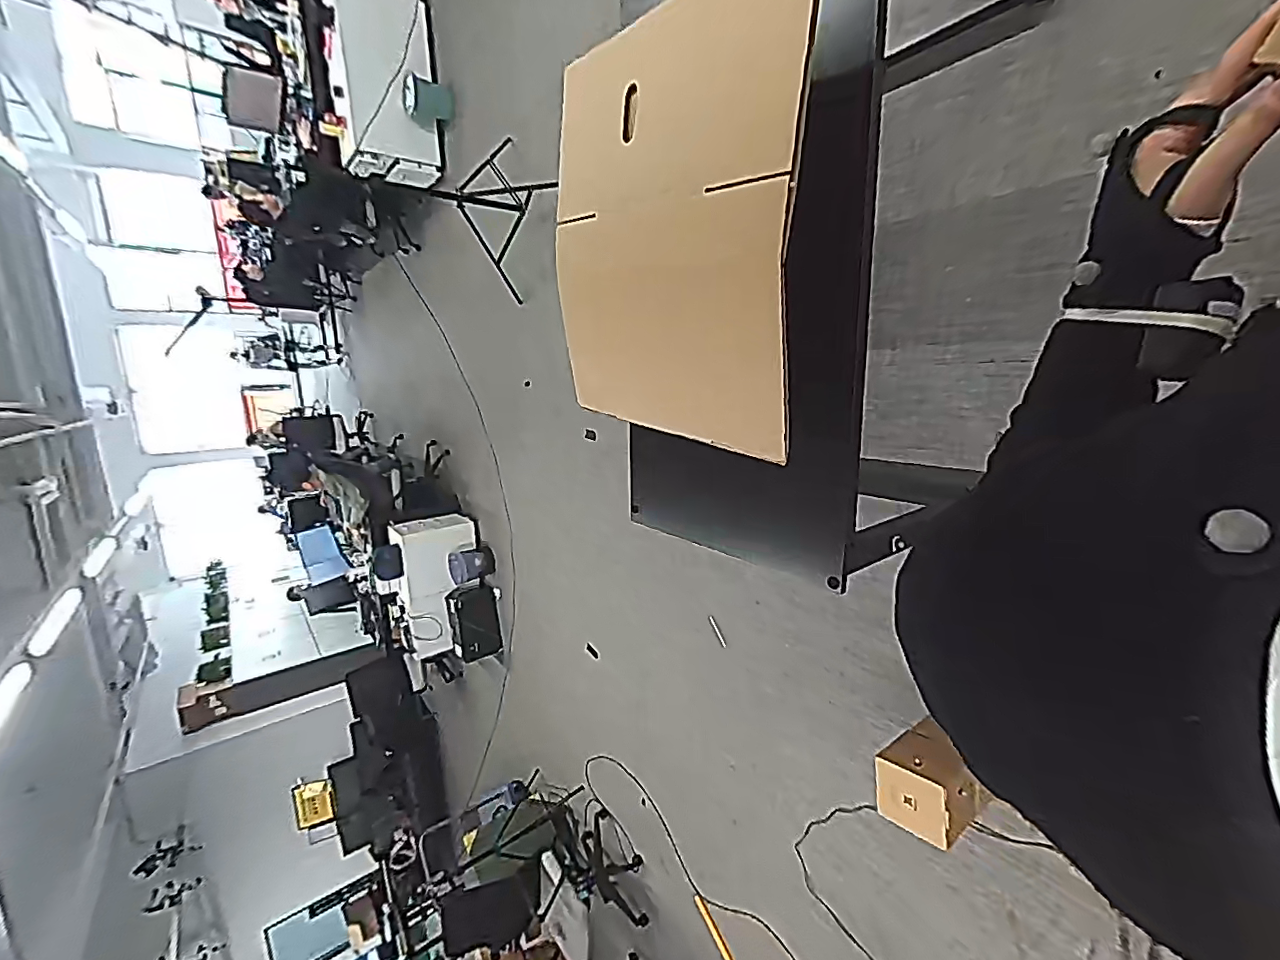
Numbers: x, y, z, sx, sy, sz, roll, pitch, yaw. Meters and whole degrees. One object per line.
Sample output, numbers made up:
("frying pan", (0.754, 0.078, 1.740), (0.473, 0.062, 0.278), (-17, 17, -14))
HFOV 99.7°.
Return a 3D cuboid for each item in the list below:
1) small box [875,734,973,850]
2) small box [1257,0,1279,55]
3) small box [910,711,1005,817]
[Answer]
("small box", (0.727, 0.781, 1.380), (0.179, 0.176, 0.168), (4, 100, 54))
("small box", (0.459, -0.278, 0.243), (0.168, 0.176, 0.179), (45, 137, 39))
("small box", (0.859, 0.758, 1.471), (0.179, 0.176, 0.168), (8, 105, 51))
